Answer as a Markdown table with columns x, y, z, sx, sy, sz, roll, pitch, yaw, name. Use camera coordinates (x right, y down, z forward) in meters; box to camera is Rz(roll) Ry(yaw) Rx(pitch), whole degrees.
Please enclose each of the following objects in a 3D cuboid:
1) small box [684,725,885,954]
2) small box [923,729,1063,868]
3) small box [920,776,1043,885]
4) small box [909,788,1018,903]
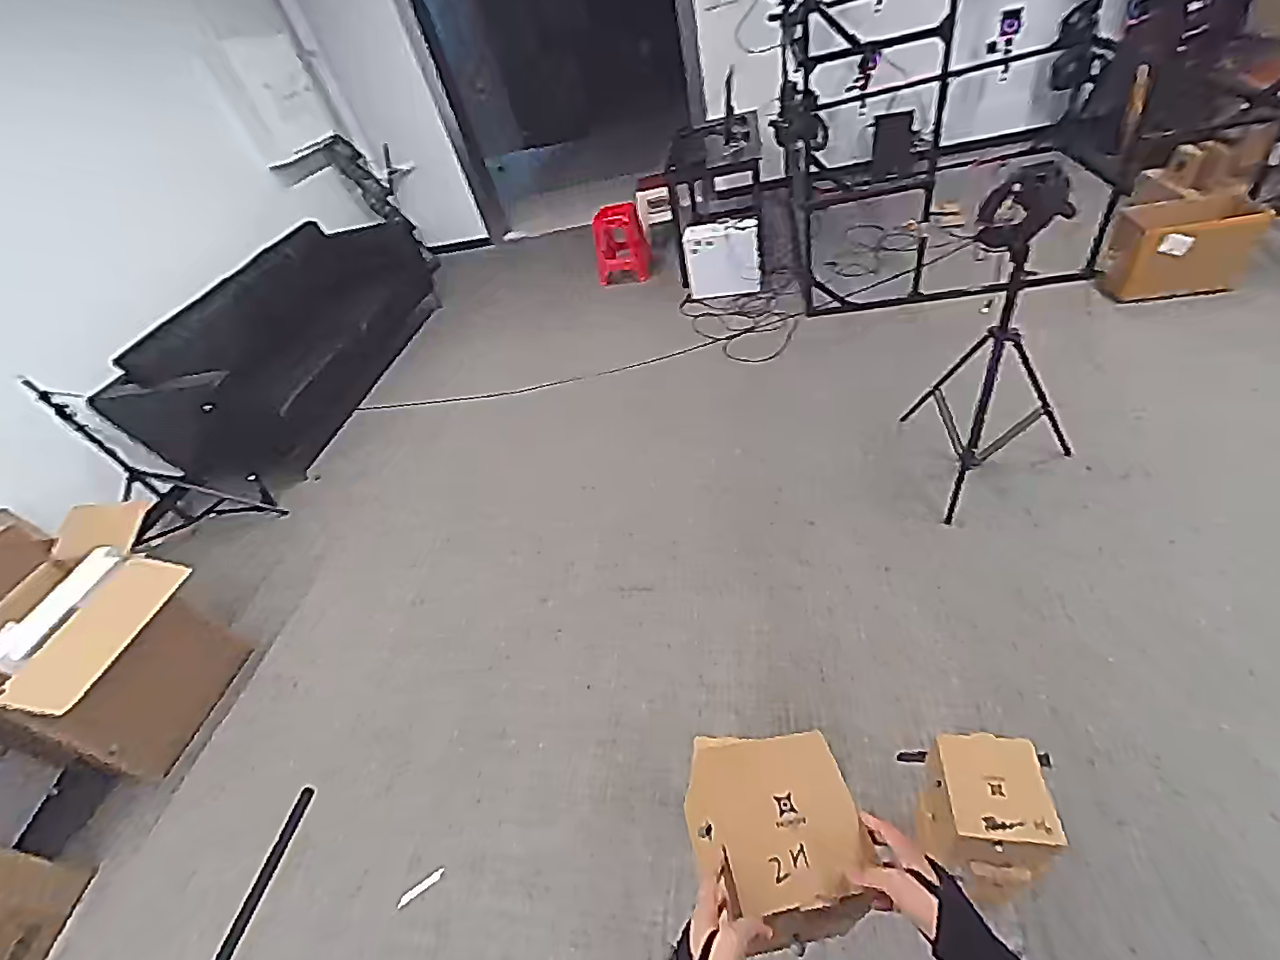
| x | y | z | sx | sy | sz | roll | pitch | yaw | name |
| --- | --- | --- | --- | --- | --- | --- | --- | --- | --- |
| 0.157 | 0.436 | 0.664 | 0.168 | 0.176 | 0.179 | -4 | 38 | -10 | small box |
| 0.651 | 0.601 | 1.024 | 0.168 | 0.176 | 0.179 | -3 | 43 | 15 | small box |
| 0.700 | 0.719 | 1.130 | 0.168 | 0.176 | 0.179 | -2 | 43 | 15 | small box |
| 0.729 | 0.837 | 1.240 | 0.168 | 0.176 | 0.179 | -2 | 44 | 16 | small box |
